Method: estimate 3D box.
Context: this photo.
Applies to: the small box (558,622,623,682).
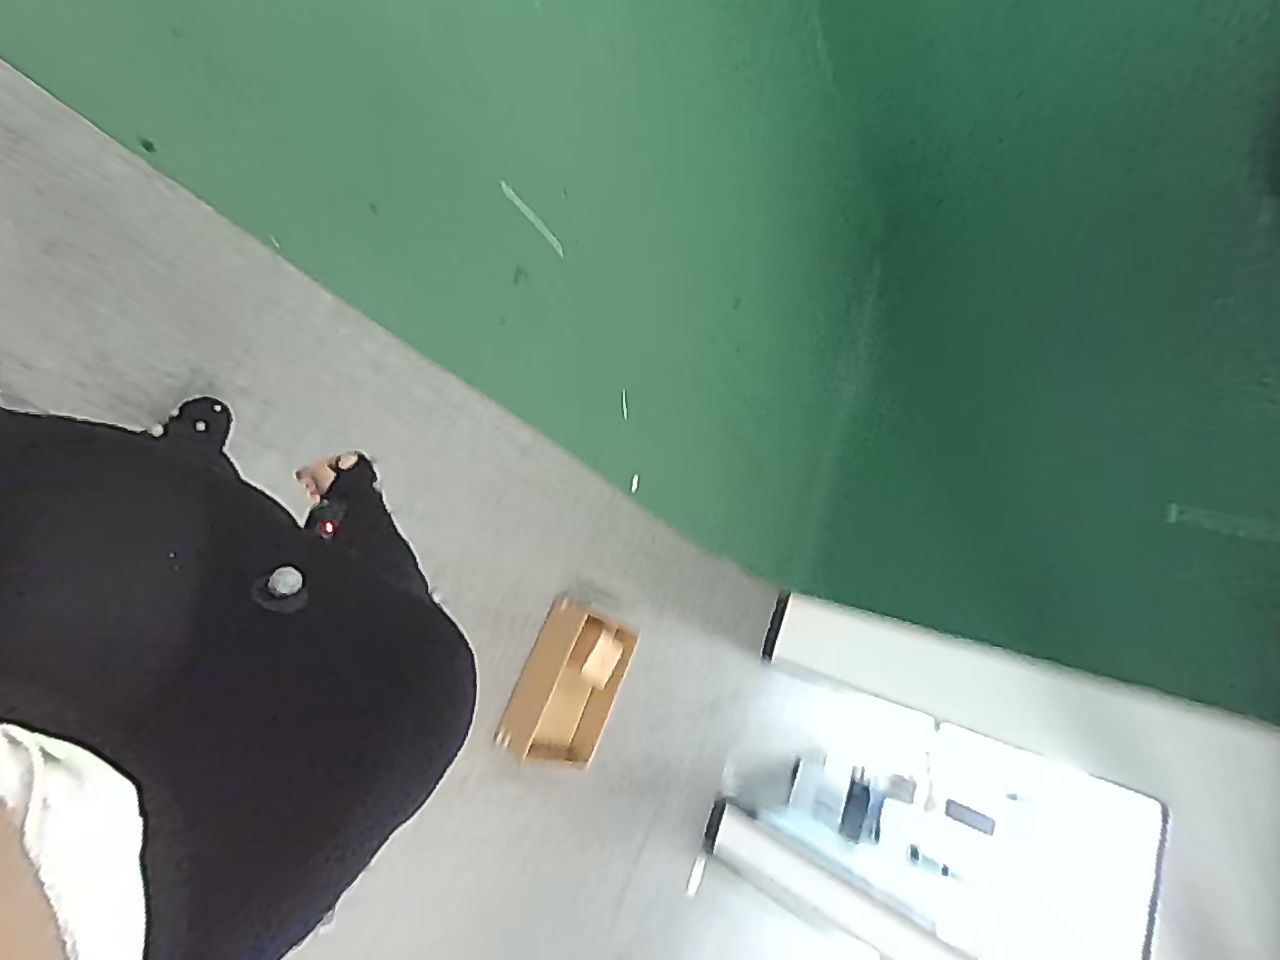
[{"bbox_3d":[-0.209,0.710,2.253,0.168,0.176,0.179,-59,136,-23],"label":"small box"}]
